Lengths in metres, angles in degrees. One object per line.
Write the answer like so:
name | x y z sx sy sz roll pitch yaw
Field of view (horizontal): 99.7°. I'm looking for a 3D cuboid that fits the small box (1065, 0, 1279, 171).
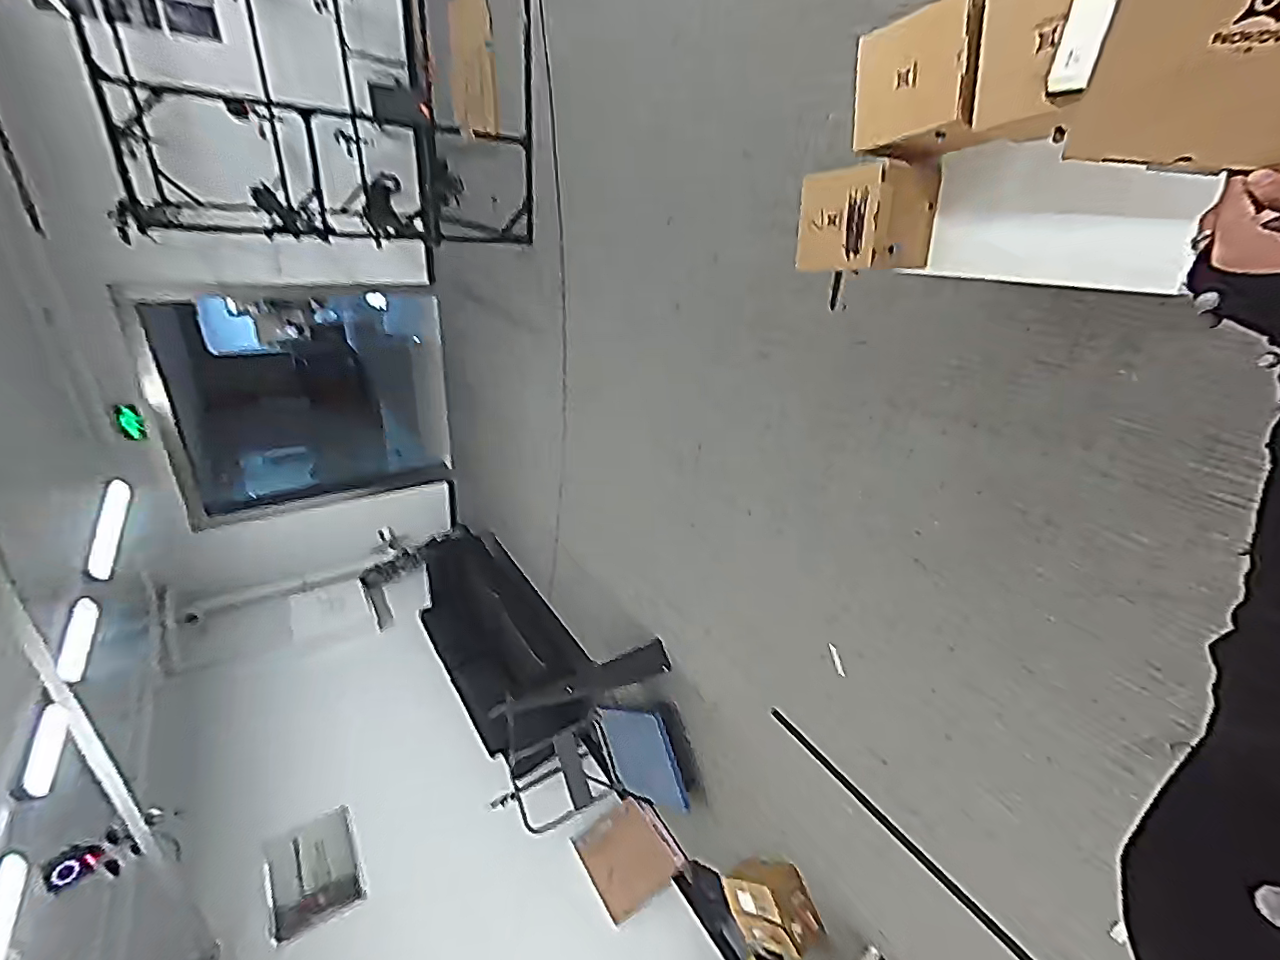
small box | 0.458 -0.341 0.378 0.168 0.176 0.179 36 148 37
